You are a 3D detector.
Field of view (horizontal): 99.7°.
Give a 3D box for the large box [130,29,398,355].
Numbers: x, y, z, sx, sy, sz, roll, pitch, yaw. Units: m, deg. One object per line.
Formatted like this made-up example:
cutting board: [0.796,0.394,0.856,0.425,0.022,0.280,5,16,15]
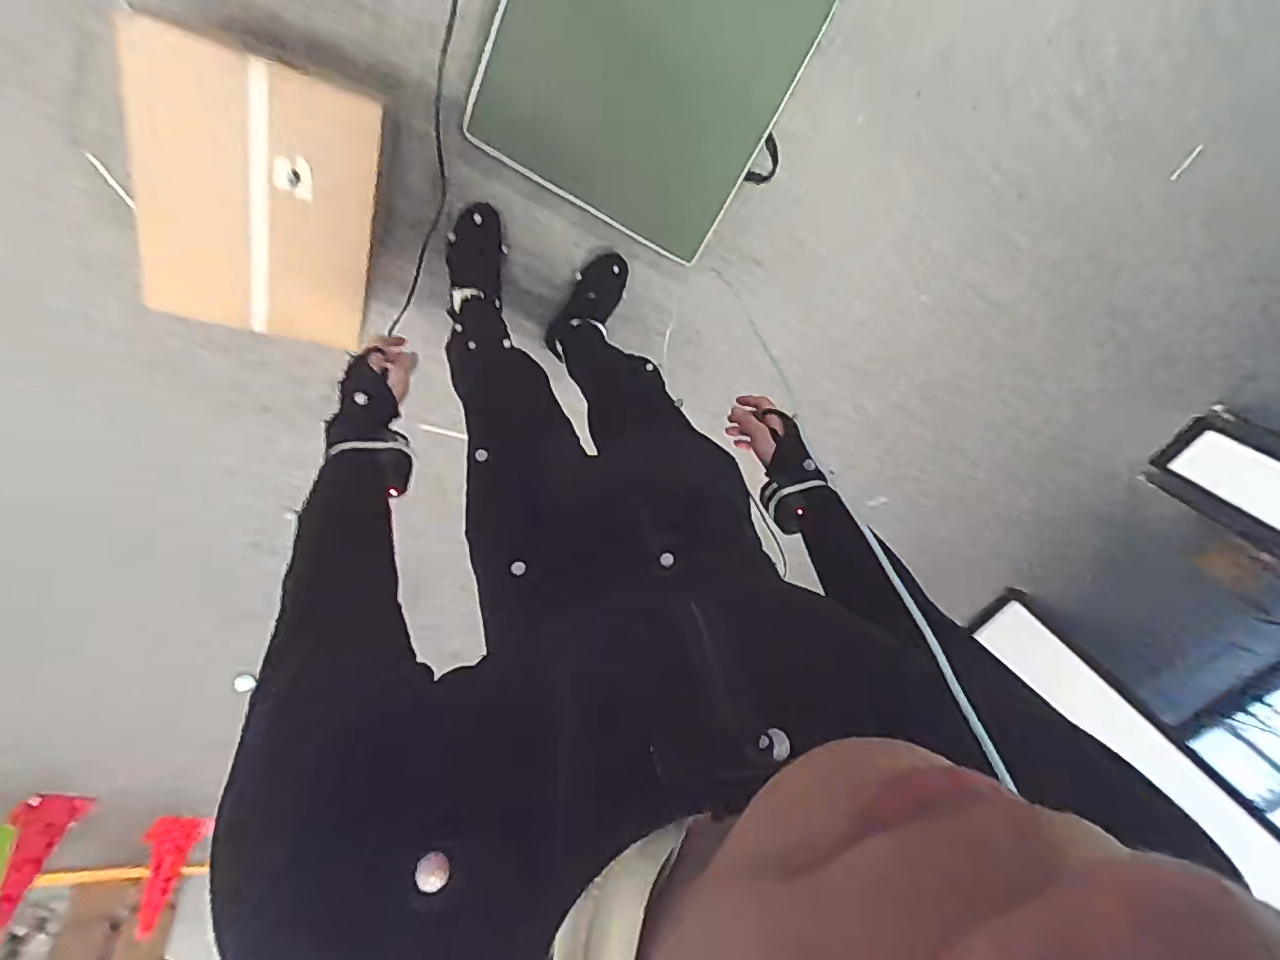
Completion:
large box: [-0.636,-0.495,0.981,0.320,0.320,0.408,8,121,-25]
